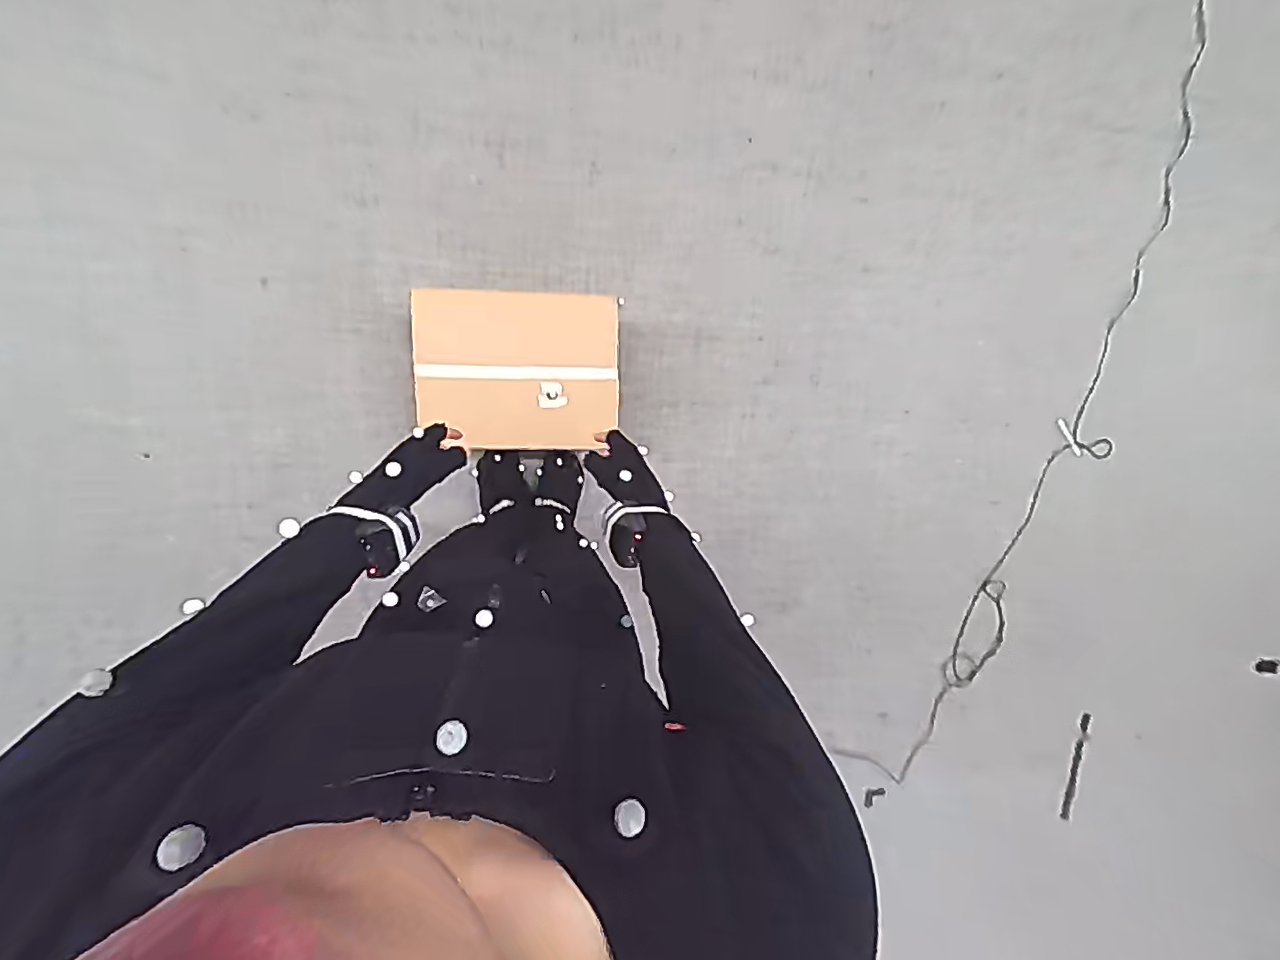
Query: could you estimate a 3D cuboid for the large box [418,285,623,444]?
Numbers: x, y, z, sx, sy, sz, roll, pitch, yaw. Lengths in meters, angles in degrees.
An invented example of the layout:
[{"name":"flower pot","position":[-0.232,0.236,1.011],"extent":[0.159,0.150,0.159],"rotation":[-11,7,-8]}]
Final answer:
[{"name":"large box","position":[-0.257,-0.254,1.242],"extent":[0.408,0.320,0.320],"rotation":[-1,100,-9]}]
